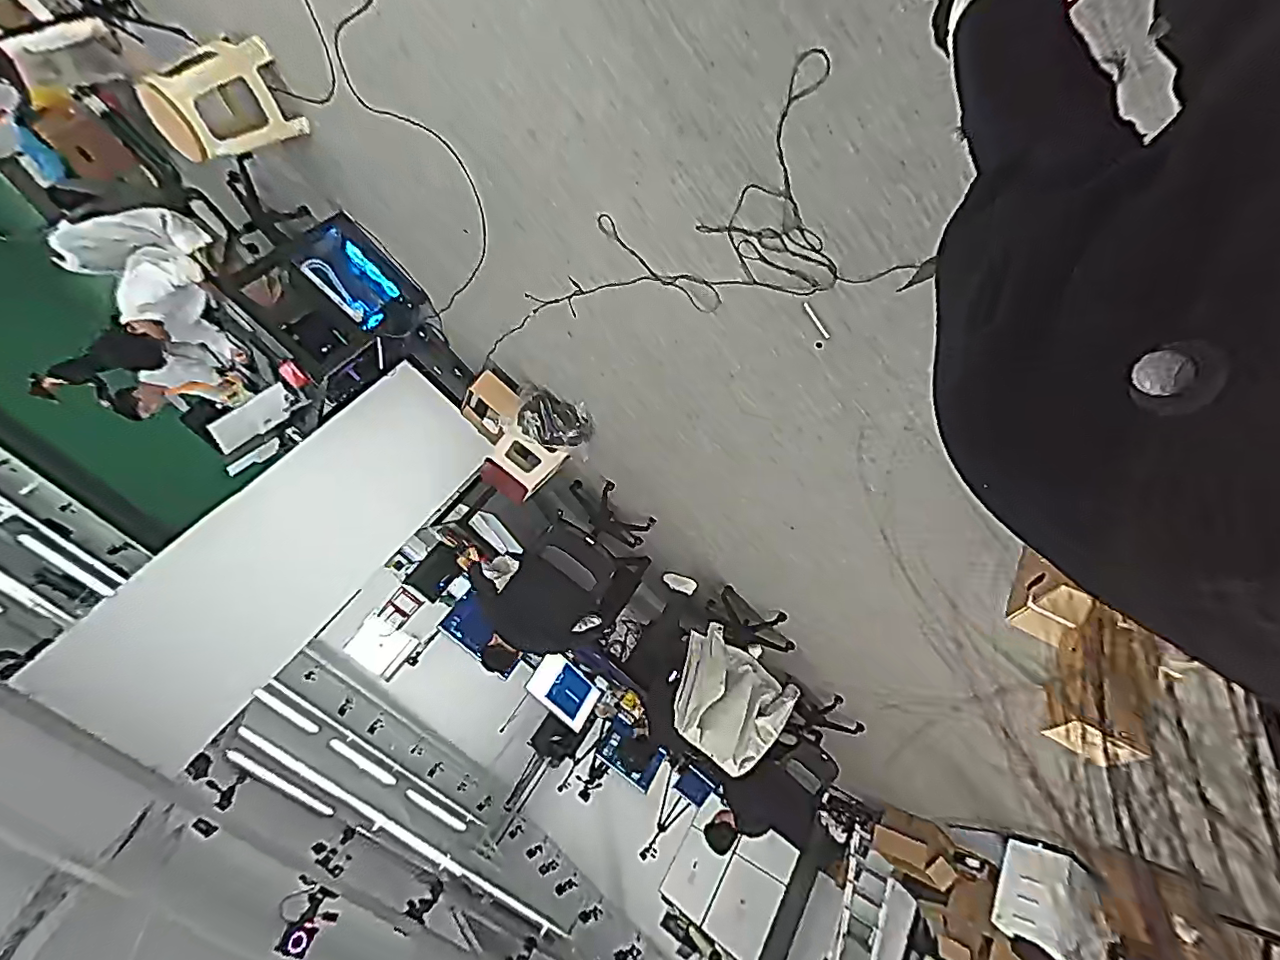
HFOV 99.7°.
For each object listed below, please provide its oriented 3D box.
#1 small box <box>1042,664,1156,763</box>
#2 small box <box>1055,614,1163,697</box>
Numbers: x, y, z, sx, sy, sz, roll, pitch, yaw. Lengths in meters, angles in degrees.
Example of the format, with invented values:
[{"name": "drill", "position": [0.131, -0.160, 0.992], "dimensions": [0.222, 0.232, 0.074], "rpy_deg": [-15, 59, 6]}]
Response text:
[{"name": "small box", "position": [1.243, 0.630, 1.463], "dimensions": [0.168, 0.176, 0.179], "rpy_deg": [27, 152, 19]}, {"name": "small box", "position": [1.332, 0.512, 1.535], "dimensions": [0.168, 0.176, 0.179], "rpy_deg": [27, 150, 19]}]
